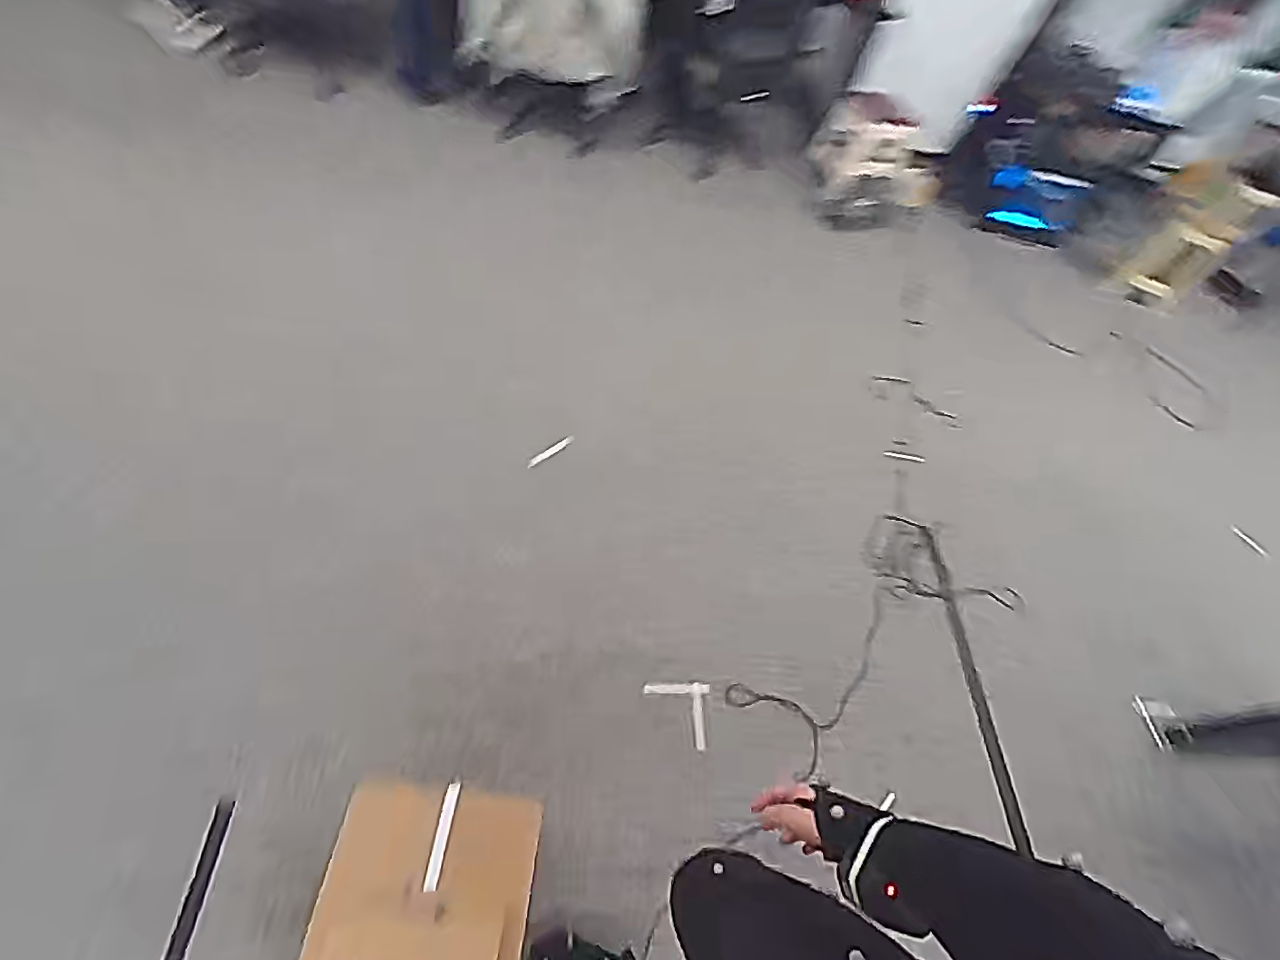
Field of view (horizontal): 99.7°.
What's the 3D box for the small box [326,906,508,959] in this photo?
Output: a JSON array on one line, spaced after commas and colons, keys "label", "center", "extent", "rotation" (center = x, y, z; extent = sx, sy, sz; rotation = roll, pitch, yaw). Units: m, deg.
[{"label": "small box", "center": [-0.250, 0.573, 0.581], "extent": [0.179, 0.176, 0.168], "rotation": [12, 54, -10]}]
